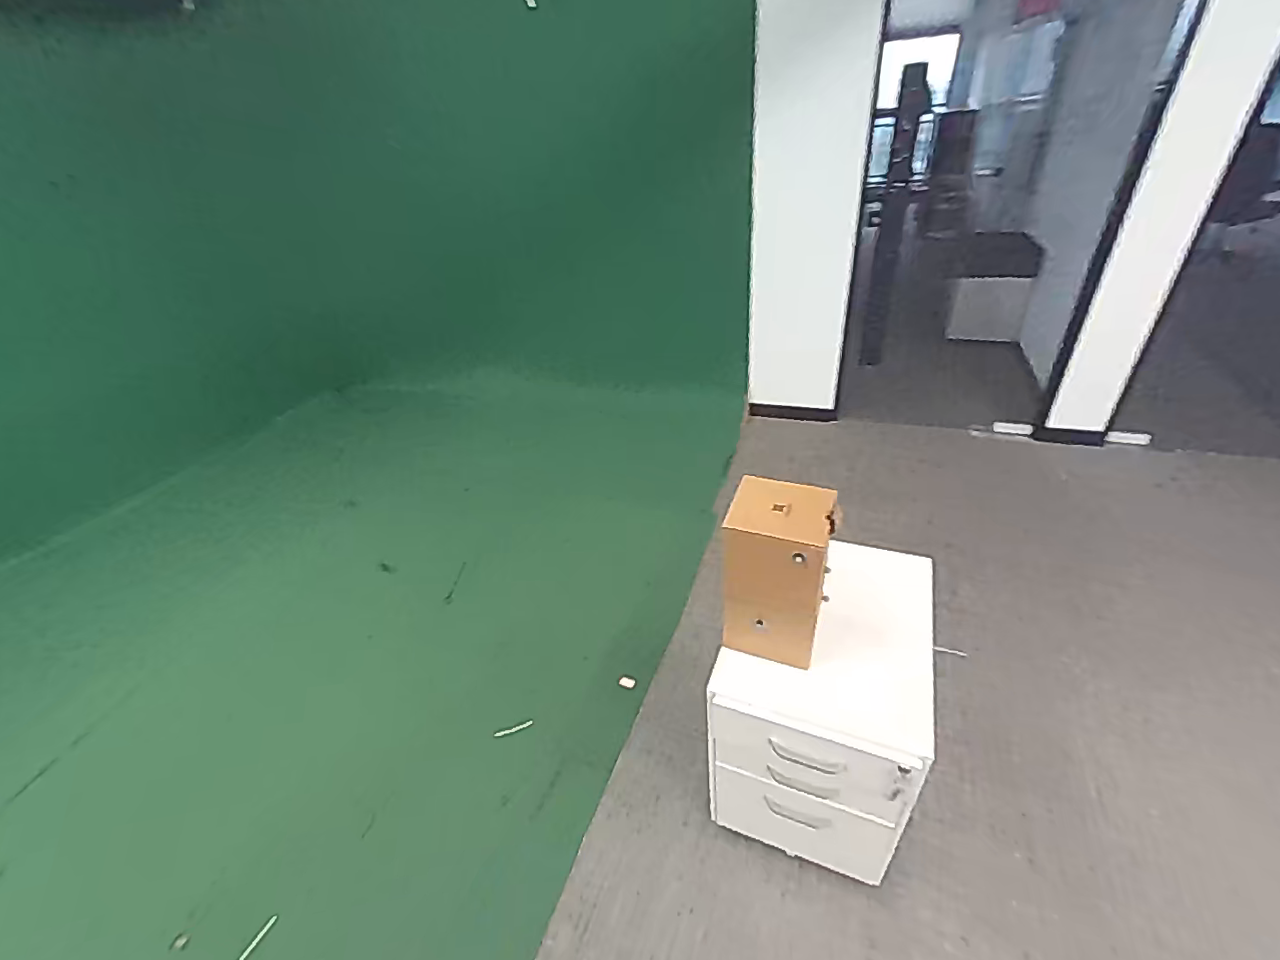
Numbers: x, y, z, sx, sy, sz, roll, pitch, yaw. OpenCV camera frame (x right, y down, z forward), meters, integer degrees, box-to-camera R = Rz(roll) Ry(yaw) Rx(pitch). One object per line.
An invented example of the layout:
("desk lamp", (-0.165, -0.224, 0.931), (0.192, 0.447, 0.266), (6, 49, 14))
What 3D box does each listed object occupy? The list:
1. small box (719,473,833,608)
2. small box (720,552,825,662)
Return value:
("small box", (0.249, 0.111, 1.001), (0.179, 0.176, 0.168), (10, 38, 20))
("small box", (0.269, 0.241, 1.099), (0.179, 0.176, 0.168), (9, 39, 20))
